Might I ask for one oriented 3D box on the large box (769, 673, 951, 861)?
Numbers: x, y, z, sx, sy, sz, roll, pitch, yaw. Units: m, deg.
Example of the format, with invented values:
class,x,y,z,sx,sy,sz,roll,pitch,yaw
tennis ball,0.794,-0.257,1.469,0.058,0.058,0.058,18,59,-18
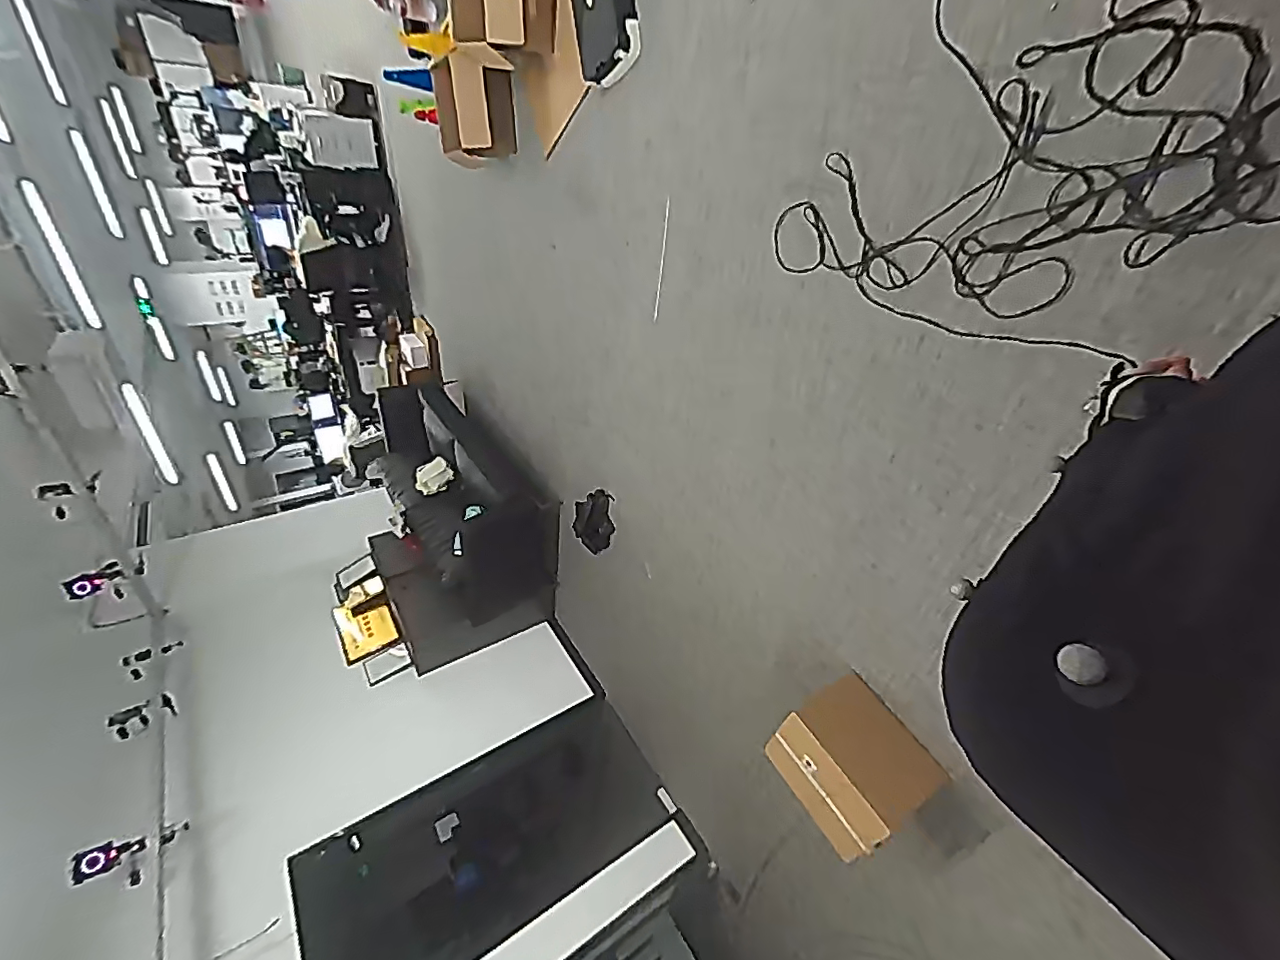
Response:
class,x,y,z,sx,sy,sz,roll,pitch,yaw
large box,0.712,0.938,1.794,0.408,0.320,0.320,50,143,35
